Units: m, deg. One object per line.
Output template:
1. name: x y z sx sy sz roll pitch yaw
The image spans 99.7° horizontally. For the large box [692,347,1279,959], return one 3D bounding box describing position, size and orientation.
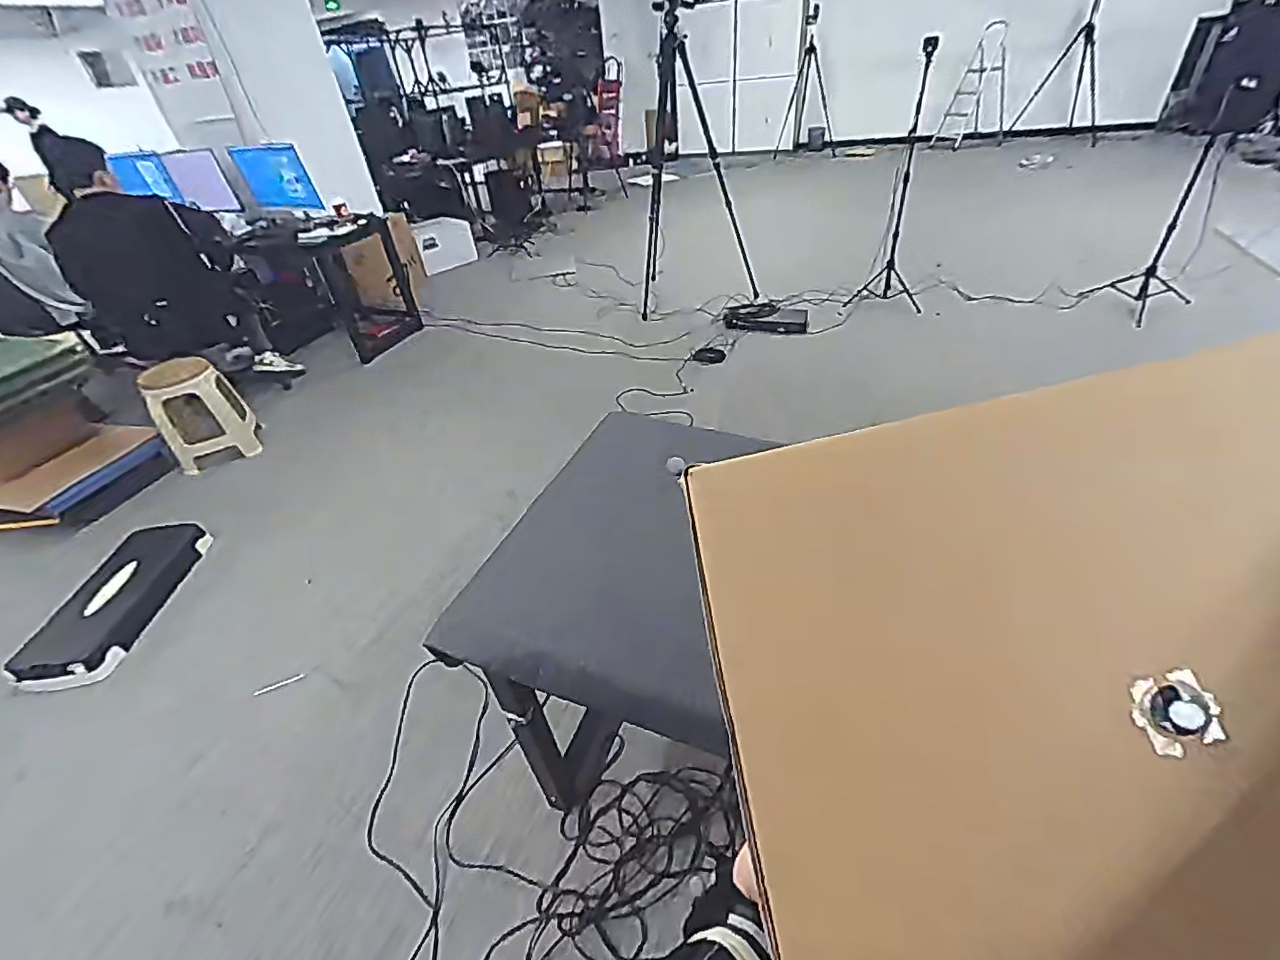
1. large box: 0.284 0.129 0.407 0.408 0.320 0.320 -14 76 11
